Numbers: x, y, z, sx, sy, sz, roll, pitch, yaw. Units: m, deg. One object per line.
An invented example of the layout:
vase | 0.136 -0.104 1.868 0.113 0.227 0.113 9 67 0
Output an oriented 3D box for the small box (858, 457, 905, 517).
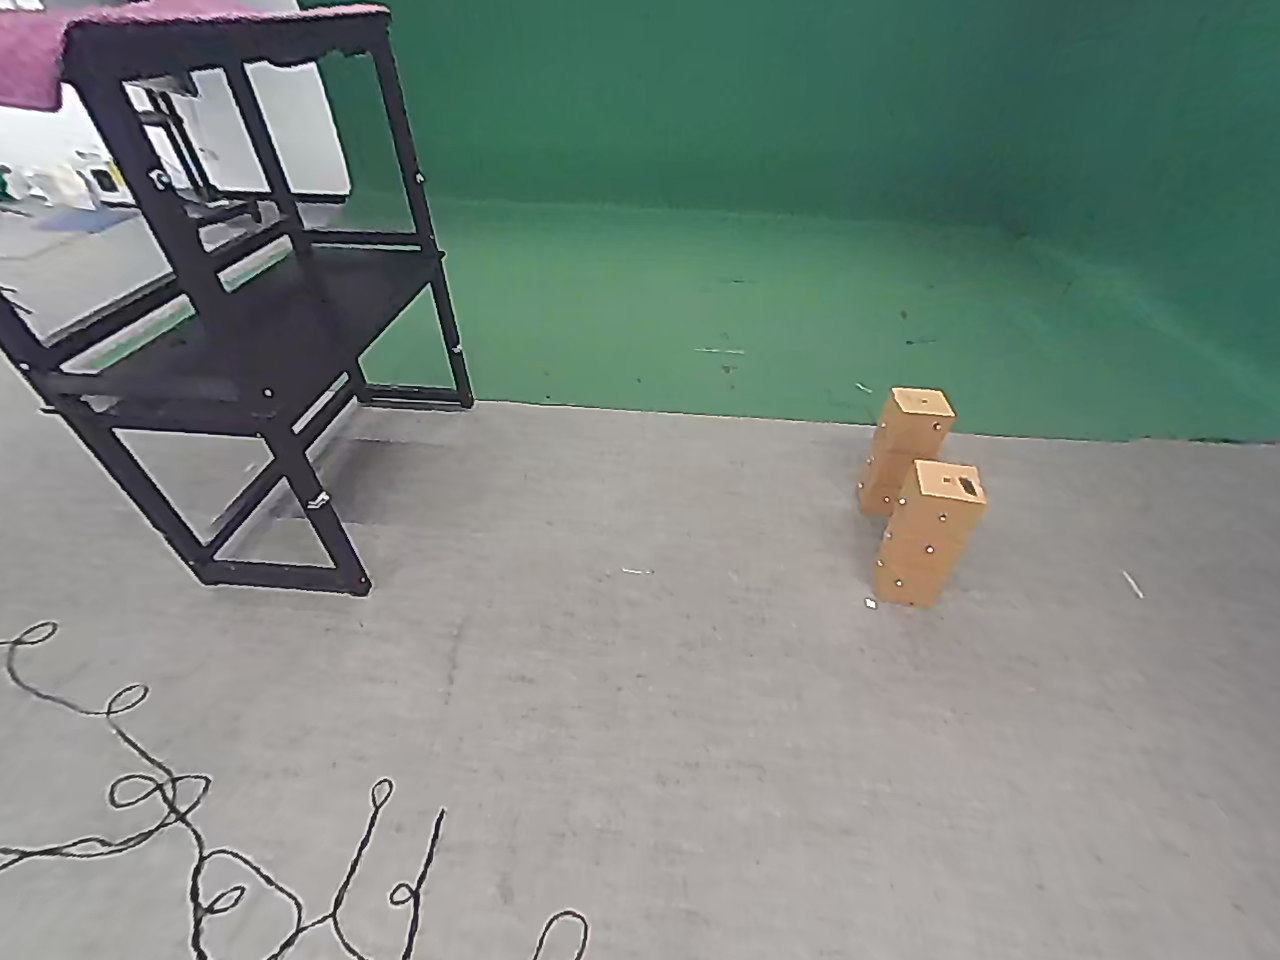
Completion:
small box | 0.980 0.032 2.150 0.179 0.176 0.168 6 43 7

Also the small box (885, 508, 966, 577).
small box | 0.907 0.190 1.732 0.179 0.176 0.168 9 43 10

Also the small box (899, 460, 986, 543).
small box | 0.899 0.067 1.623 0.179 0.176 0.168 9 43 12

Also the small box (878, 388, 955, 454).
small box | 0.978 -0.208 1.926 0.179 0.176 0.168 5 41 4

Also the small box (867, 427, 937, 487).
small box | 0.980 -0.087 2.038 0.179 0.176 0.168 4 41 5
